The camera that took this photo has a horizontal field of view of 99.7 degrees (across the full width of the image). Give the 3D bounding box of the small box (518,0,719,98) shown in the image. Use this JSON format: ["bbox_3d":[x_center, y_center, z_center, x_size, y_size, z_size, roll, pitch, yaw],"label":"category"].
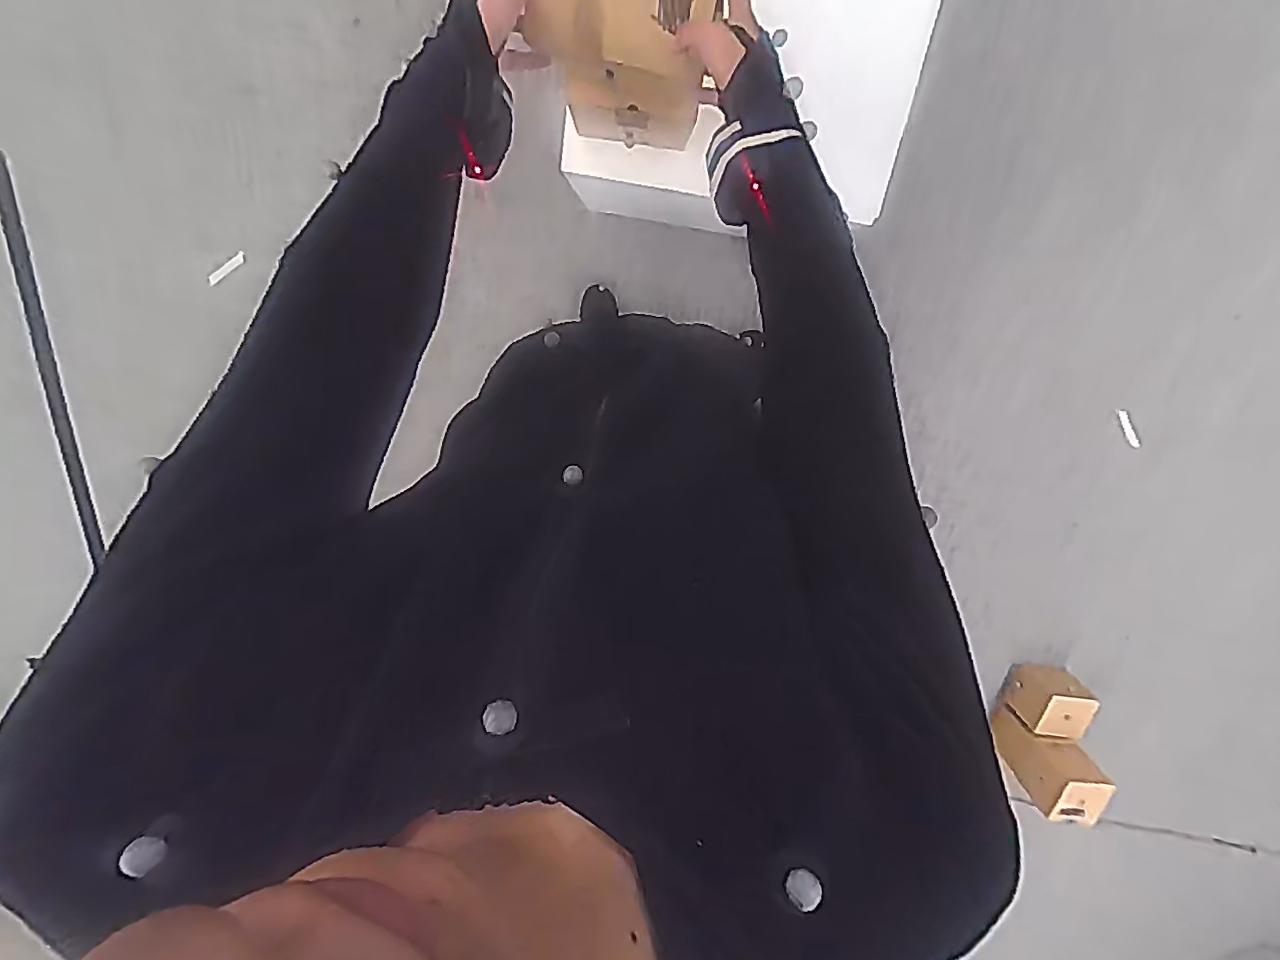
[{"bbox_3d":[-0.009,-0.495,0.532,0.179,0.176,0.168,11,121,-3],"label":"small box"}]

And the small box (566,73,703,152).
[{"bbox_3d":[0.000,-0.559,0.712,0.168,0.176,0.179,7,111,-3],"label":"small box"}]
